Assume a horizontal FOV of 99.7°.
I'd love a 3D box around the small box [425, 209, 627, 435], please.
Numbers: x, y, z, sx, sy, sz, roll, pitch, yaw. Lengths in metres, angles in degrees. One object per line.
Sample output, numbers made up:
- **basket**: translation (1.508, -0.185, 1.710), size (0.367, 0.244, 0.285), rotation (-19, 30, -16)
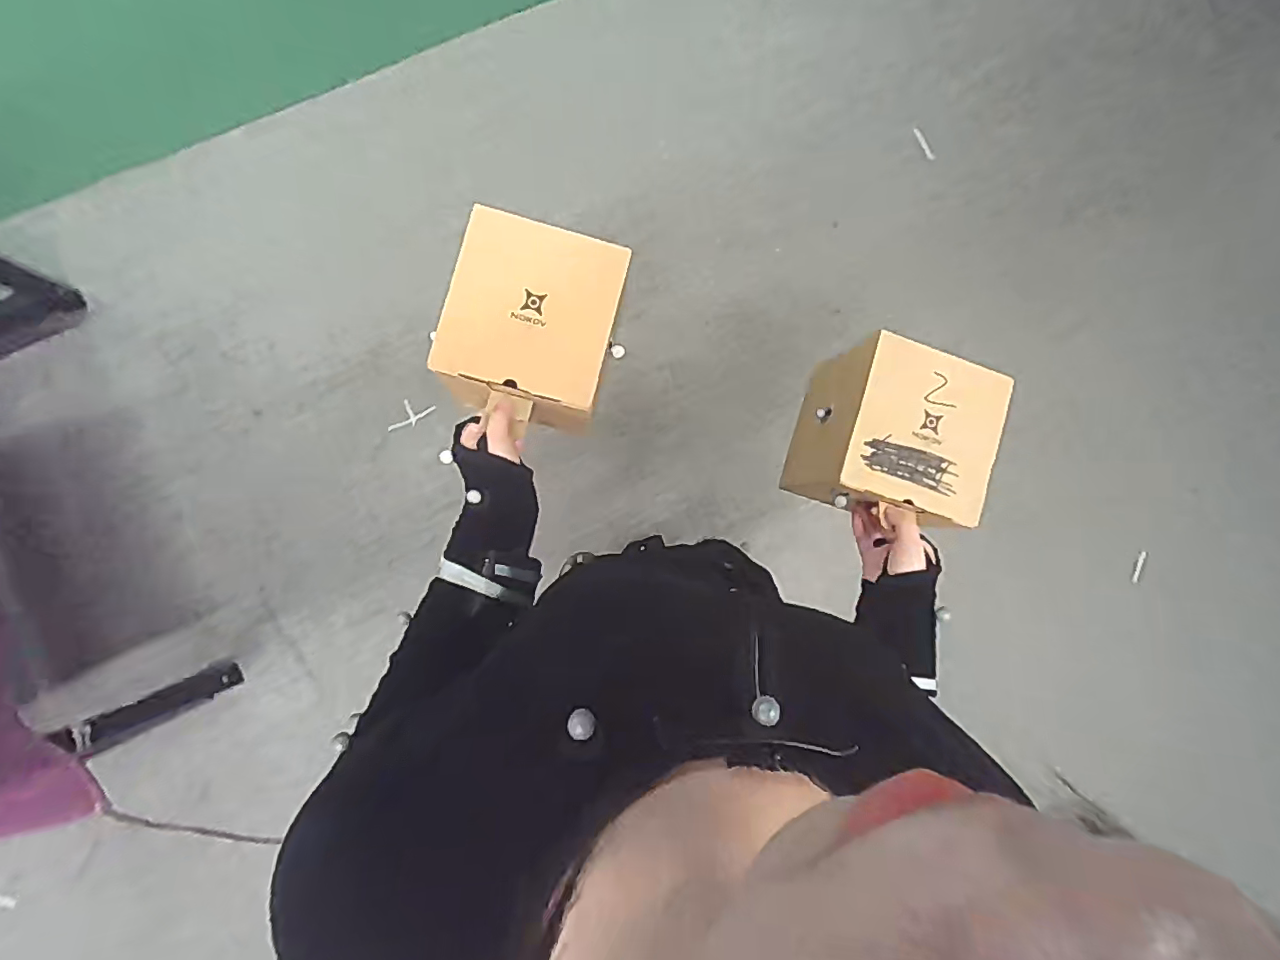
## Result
- **small box**: translation (-0.121, -0.163, 0.616), size (0.168, 0.176, 0.179), rotation (14, 85, -5)
